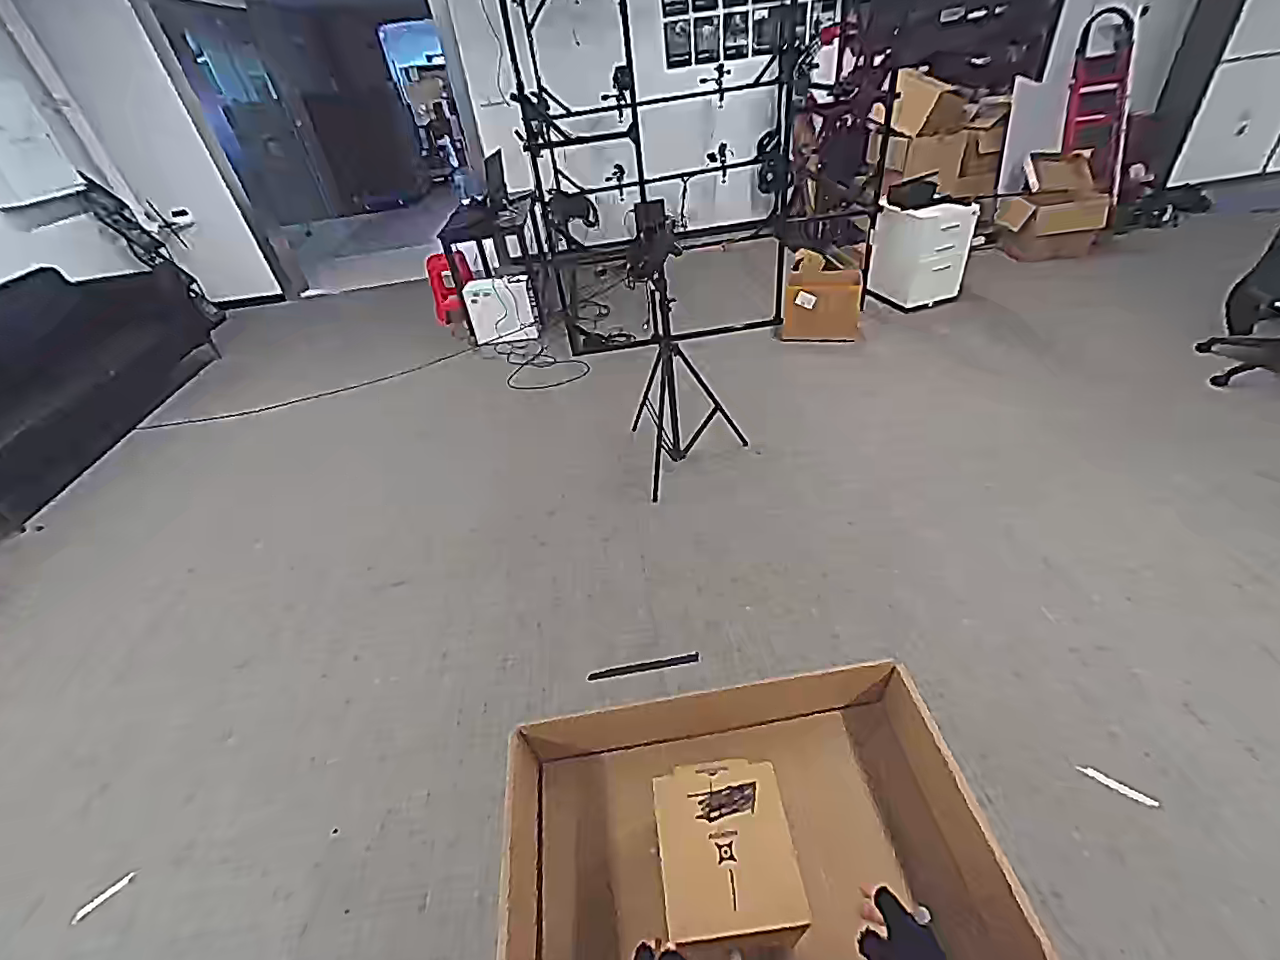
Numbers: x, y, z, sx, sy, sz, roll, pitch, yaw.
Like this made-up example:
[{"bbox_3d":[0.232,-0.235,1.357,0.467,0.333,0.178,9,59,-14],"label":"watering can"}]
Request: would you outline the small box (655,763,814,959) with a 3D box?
[{"bbox_3d":[0.114,0.508,0.720,0.168,0.176,0.179,-8,44,0],"label":"small box"}]
